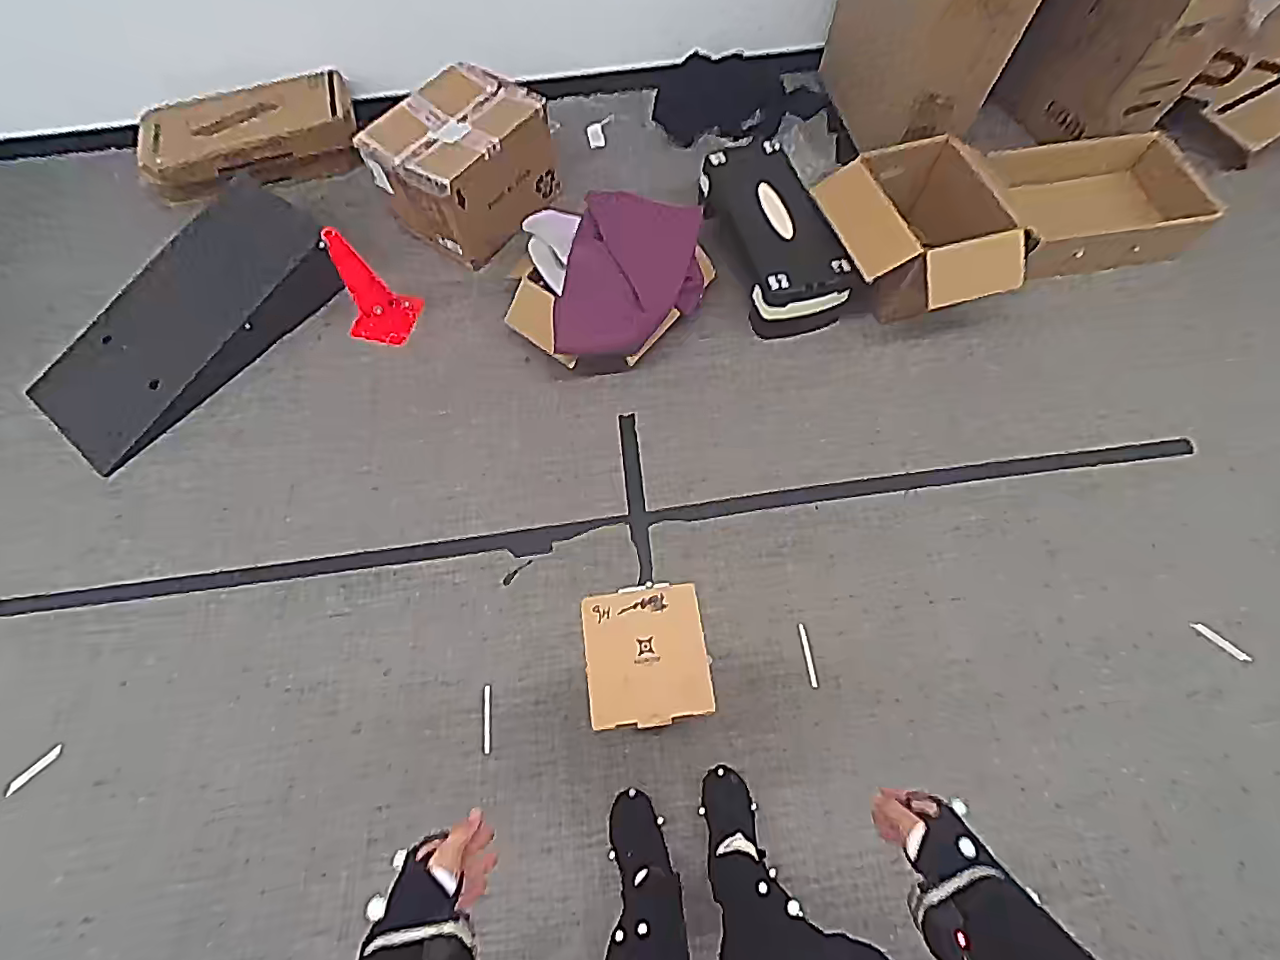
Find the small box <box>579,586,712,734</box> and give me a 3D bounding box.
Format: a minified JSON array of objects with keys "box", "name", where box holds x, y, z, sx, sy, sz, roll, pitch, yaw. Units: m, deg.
[{"box":[0.008,0.267,0.800,0.168,0.176,0.179,-8,67,-1],"name":"small box"}]
